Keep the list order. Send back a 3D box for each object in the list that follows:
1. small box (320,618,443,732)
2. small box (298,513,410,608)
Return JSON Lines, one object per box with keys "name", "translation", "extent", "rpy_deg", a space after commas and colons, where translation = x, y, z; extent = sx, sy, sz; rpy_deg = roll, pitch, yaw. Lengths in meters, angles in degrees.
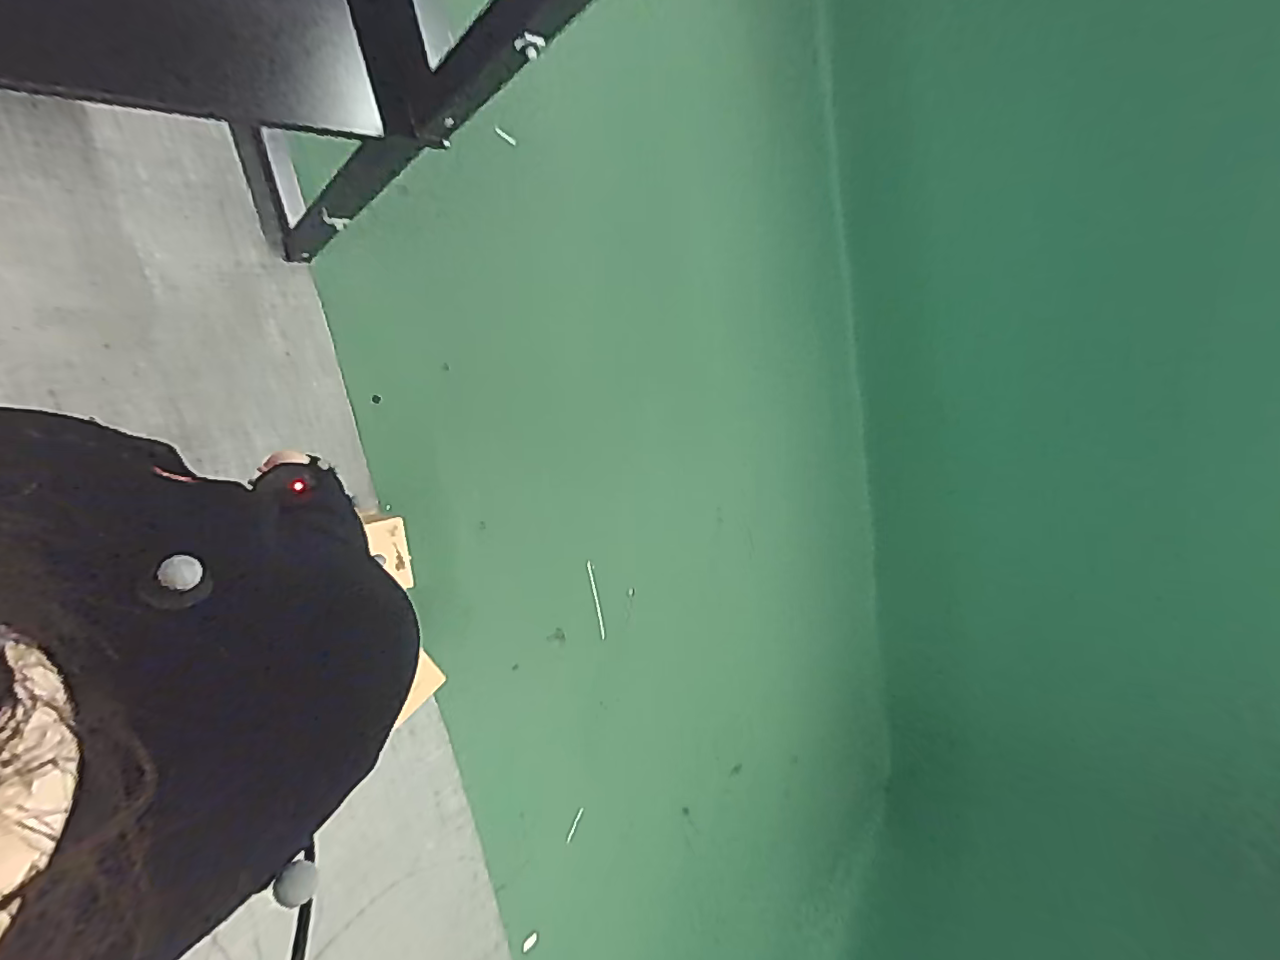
{"name": "small box", "translation": [-0.603, 0.441, 1.258], "extent": [0.168, 0.176, 0.179], "rpy_deg": [-44, 122, -33]}
{"name": "small box", "translation": [-0.642, 0.171, 1.206], "extent": [0.179, 0.176, 0.168], "rpy_deg": [-13, 100, -44]}
